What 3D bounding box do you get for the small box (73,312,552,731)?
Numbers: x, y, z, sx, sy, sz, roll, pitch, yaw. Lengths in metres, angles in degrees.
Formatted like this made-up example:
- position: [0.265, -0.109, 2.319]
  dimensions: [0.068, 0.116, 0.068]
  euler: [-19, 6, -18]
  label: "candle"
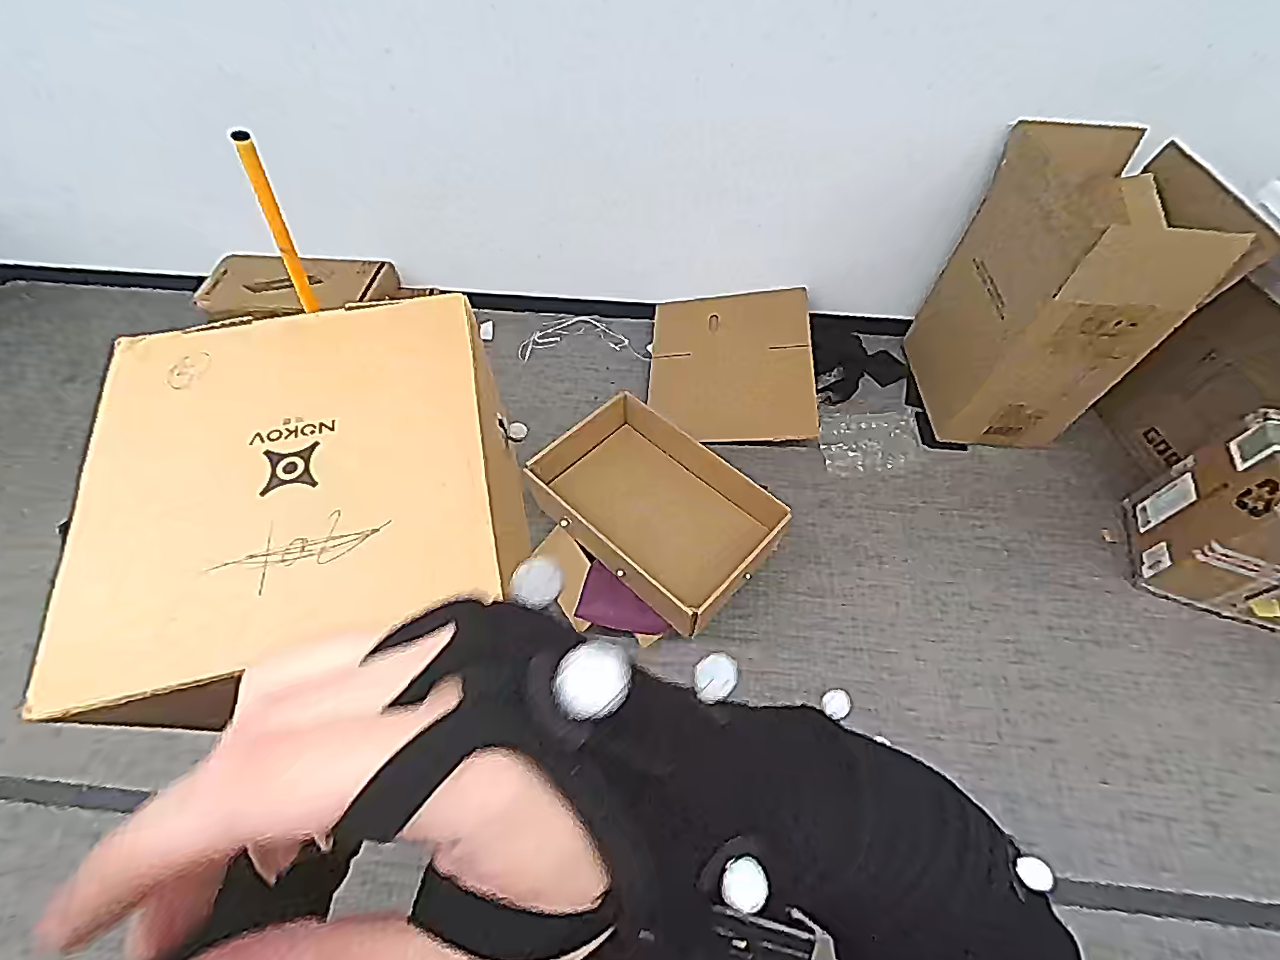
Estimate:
- position: [-0.150, 0.033, 0.317]
  dimensions: [0.168, 0.176, 0.179]
  euler: [-11, 64, -8]
  label: "small box"
